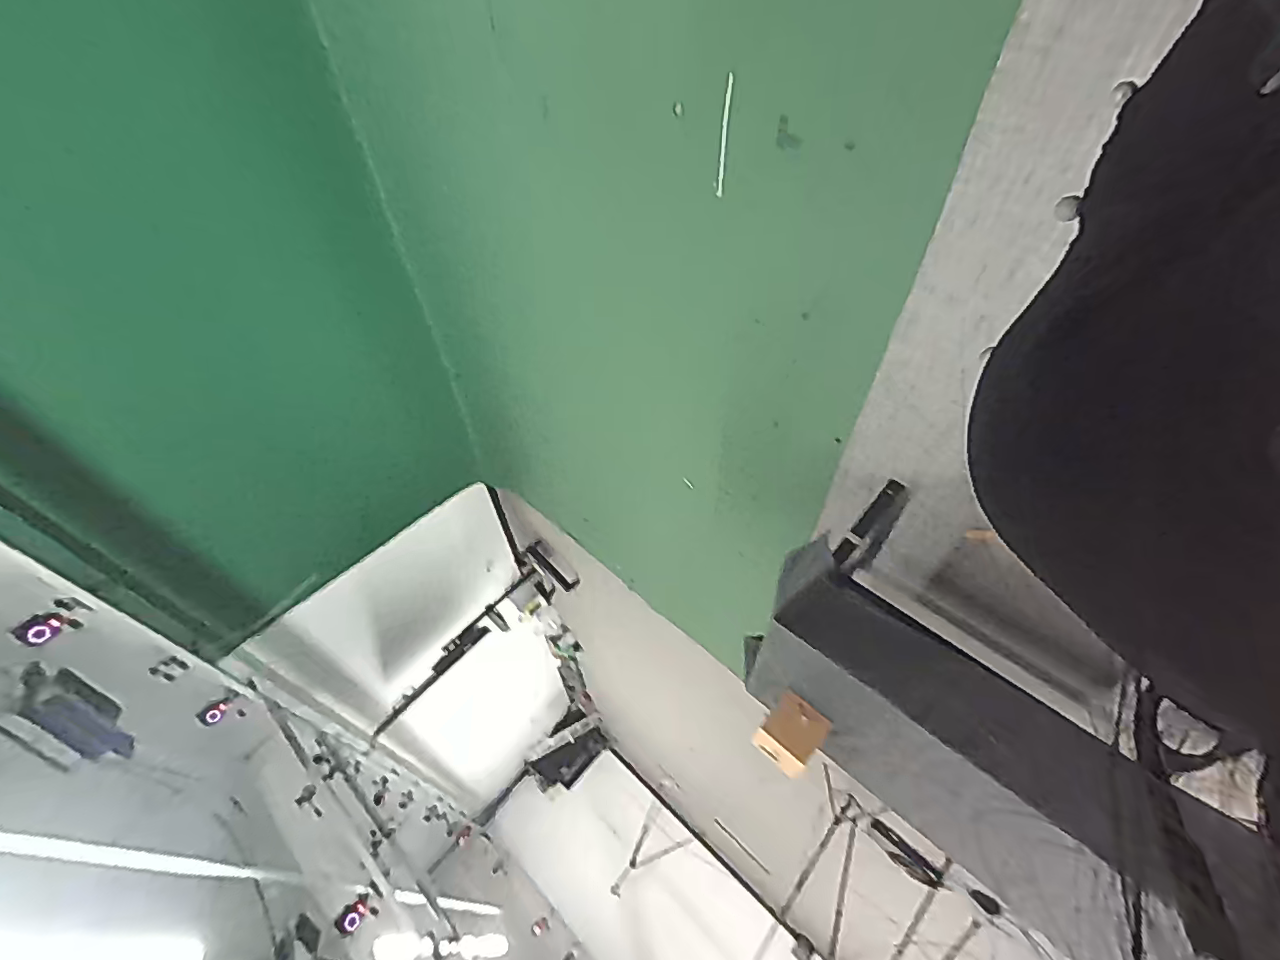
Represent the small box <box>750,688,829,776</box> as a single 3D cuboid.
[{"bbox_3d":[0.482,0.811,1.744,0.168,0.176,0.179,36,148,24],"label":"small box"}]
